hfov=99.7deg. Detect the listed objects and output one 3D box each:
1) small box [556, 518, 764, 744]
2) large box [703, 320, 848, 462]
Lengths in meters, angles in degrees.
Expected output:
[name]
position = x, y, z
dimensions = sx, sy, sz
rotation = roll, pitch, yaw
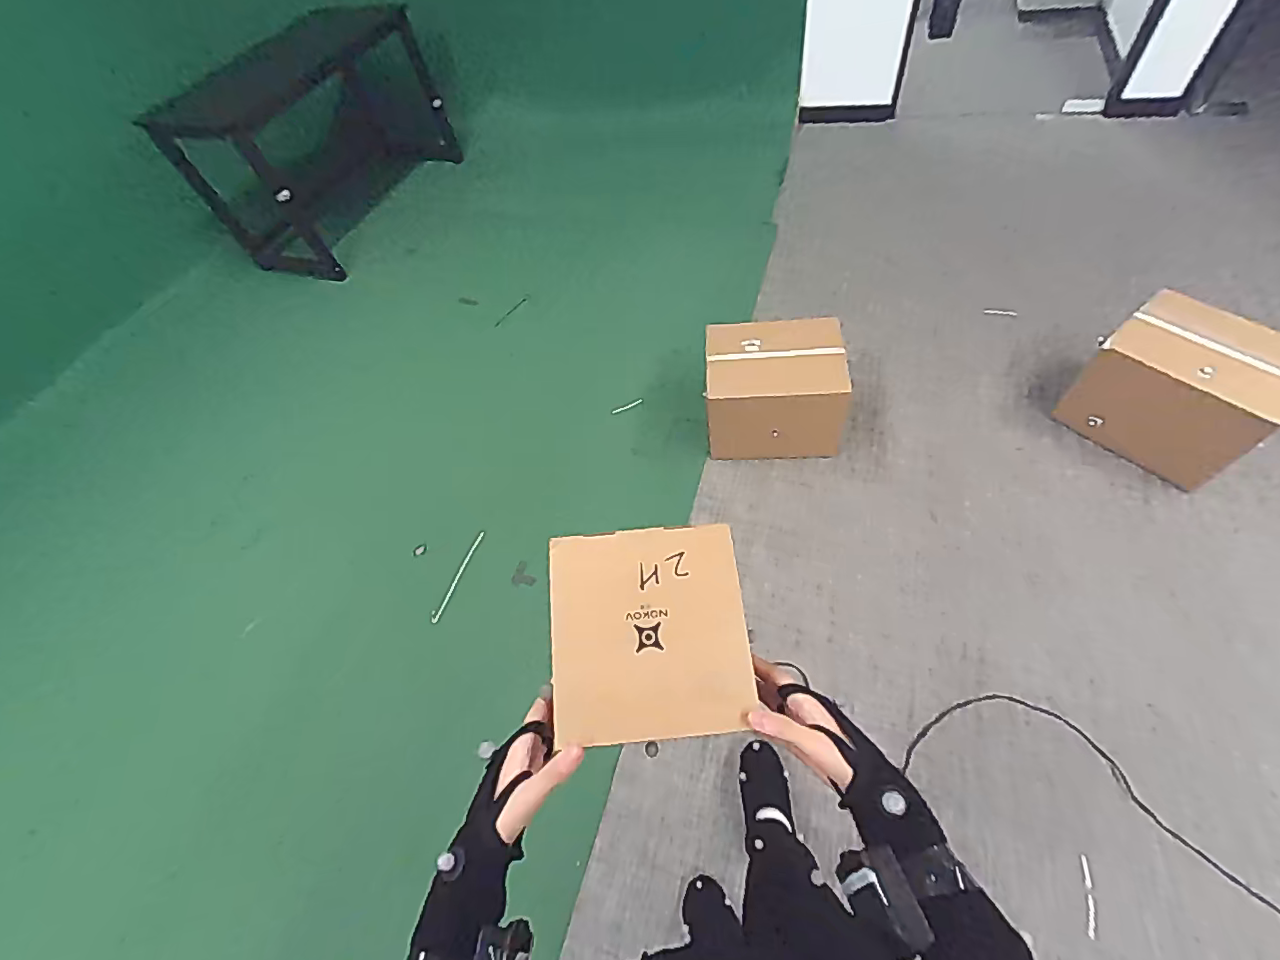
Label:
[small box]
position = 0.012, 0.150, 0.525
dimensions = 0.168, 0.176, 0.179
rotation = -4, 66, -2
[large box]
position = 0.412, -0.273, 1.722
dimensions = 0.408, 0.320, 0.320
rotation = -2, 56, 10
